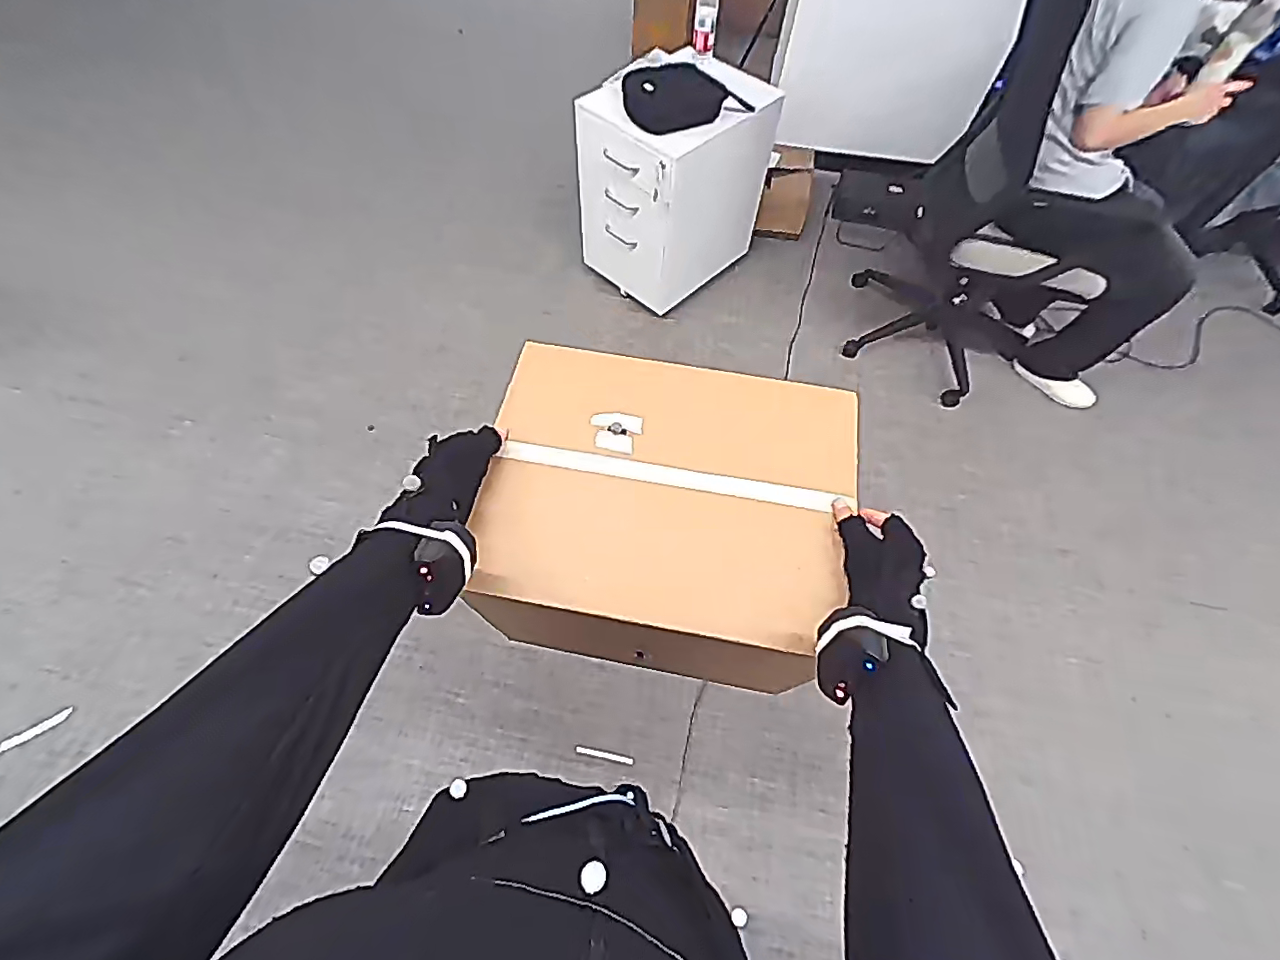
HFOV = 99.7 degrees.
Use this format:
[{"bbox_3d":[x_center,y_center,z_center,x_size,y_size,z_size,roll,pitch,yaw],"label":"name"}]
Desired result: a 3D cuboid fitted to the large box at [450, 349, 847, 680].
[{"bbox_3d":[0.030,0.064,0.730,0.408,0.320,0.320,10,63,6],"label":"large box"}]
